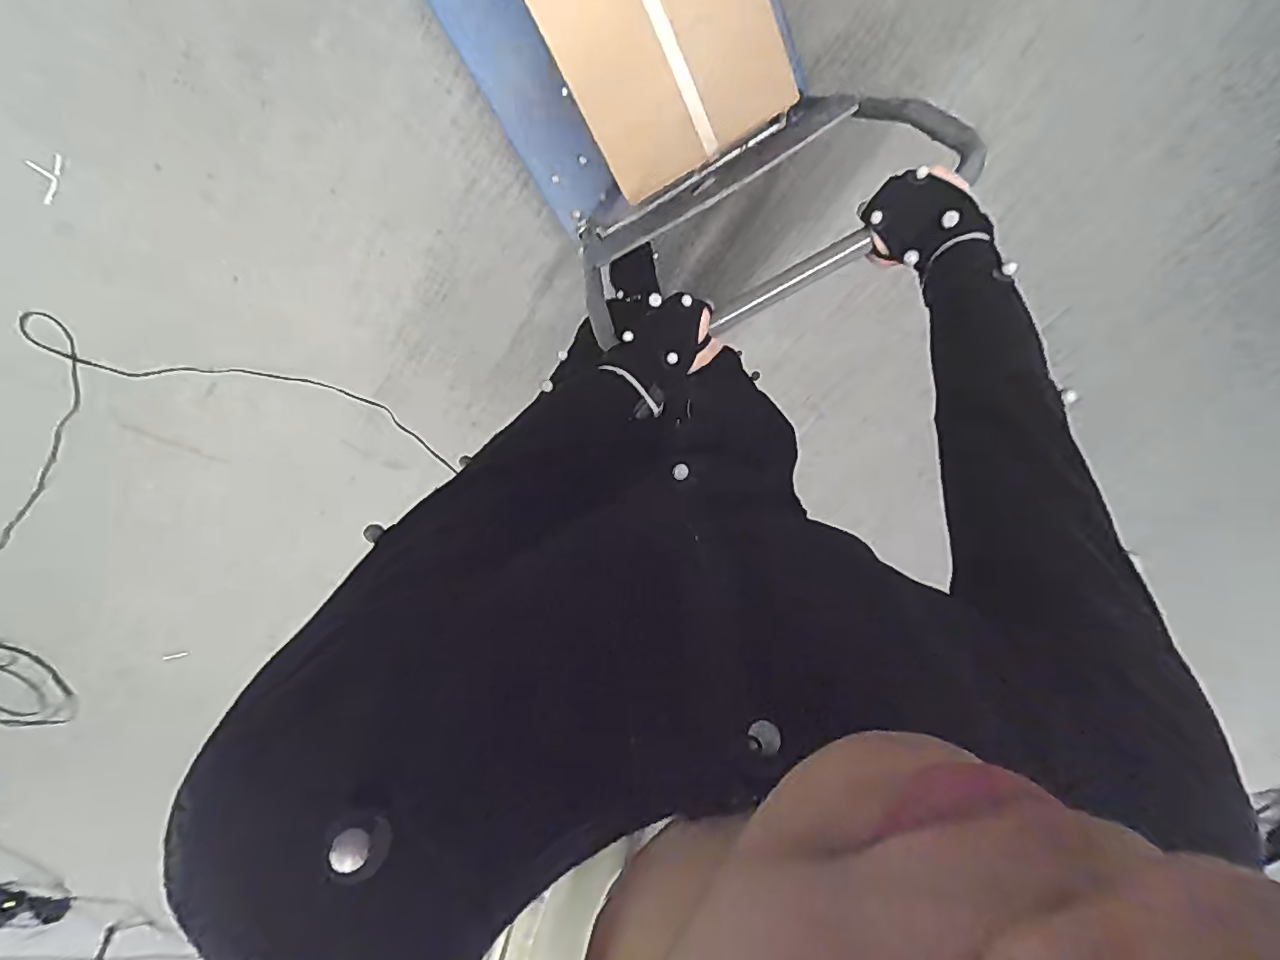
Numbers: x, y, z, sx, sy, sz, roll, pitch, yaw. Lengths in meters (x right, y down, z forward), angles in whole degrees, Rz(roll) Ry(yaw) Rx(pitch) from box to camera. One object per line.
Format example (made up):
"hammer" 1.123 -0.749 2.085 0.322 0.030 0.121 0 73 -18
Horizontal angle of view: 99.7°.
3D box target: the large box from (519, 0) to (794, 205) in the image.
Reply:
"large box" 0.010 -0.755 0.921 0.320 0.320 0.408 -27 120 12
